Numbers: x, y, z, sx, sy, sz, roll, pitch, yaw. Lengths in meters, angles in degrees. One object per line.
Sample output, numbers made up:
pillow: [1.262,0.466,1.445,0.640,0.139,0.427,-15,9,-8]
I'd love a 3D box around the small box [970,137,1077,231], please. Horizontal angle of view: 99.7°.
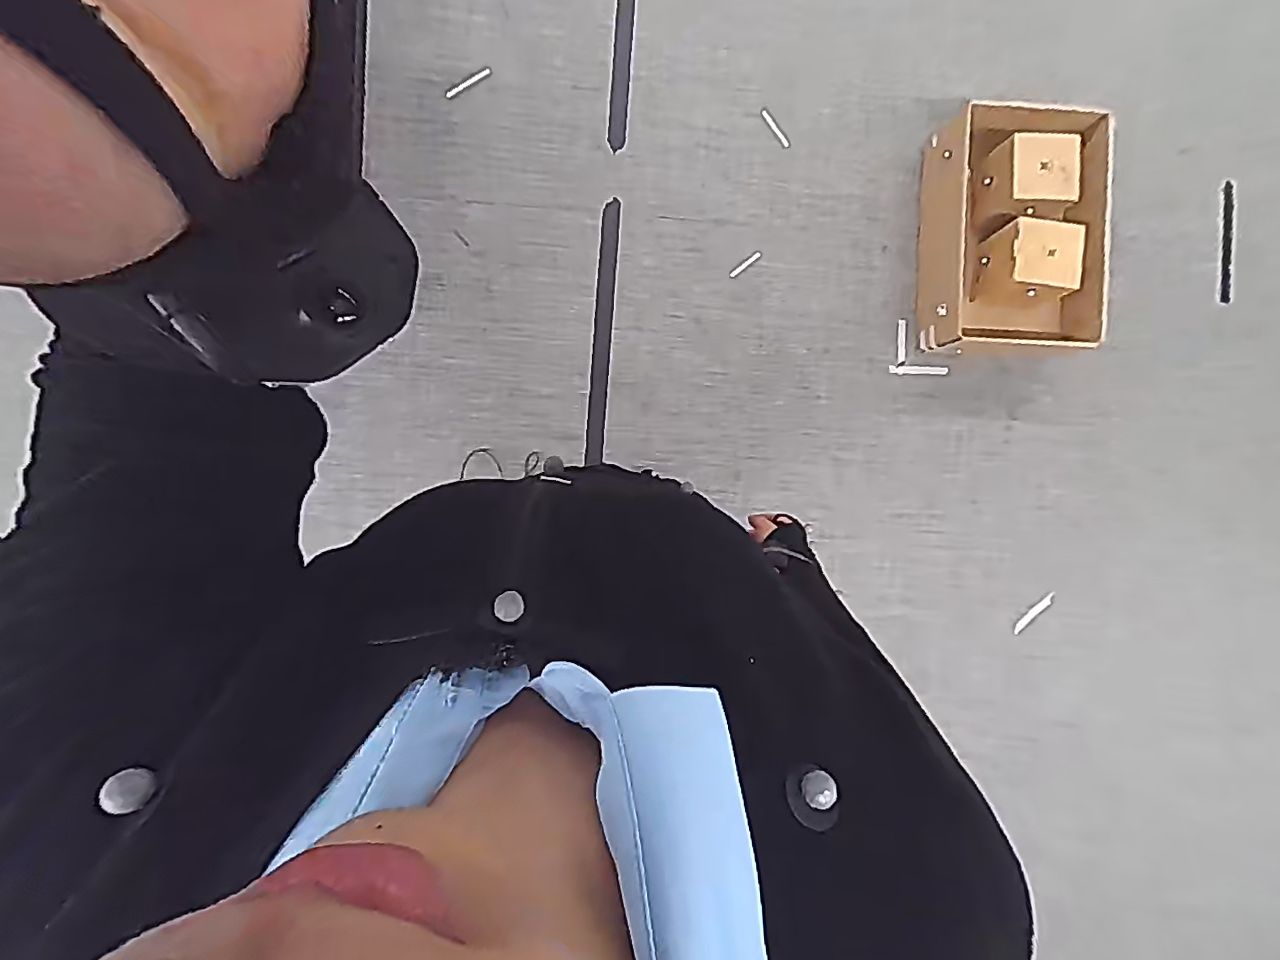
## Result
small box: [1.016,-0.784,1.445,0.179,0.176,0.168,0,92,-3]

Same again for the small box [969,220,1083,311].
small box: [1.028,-0.566,1.449,0.179,0.176,0.168,7,89,-3]
